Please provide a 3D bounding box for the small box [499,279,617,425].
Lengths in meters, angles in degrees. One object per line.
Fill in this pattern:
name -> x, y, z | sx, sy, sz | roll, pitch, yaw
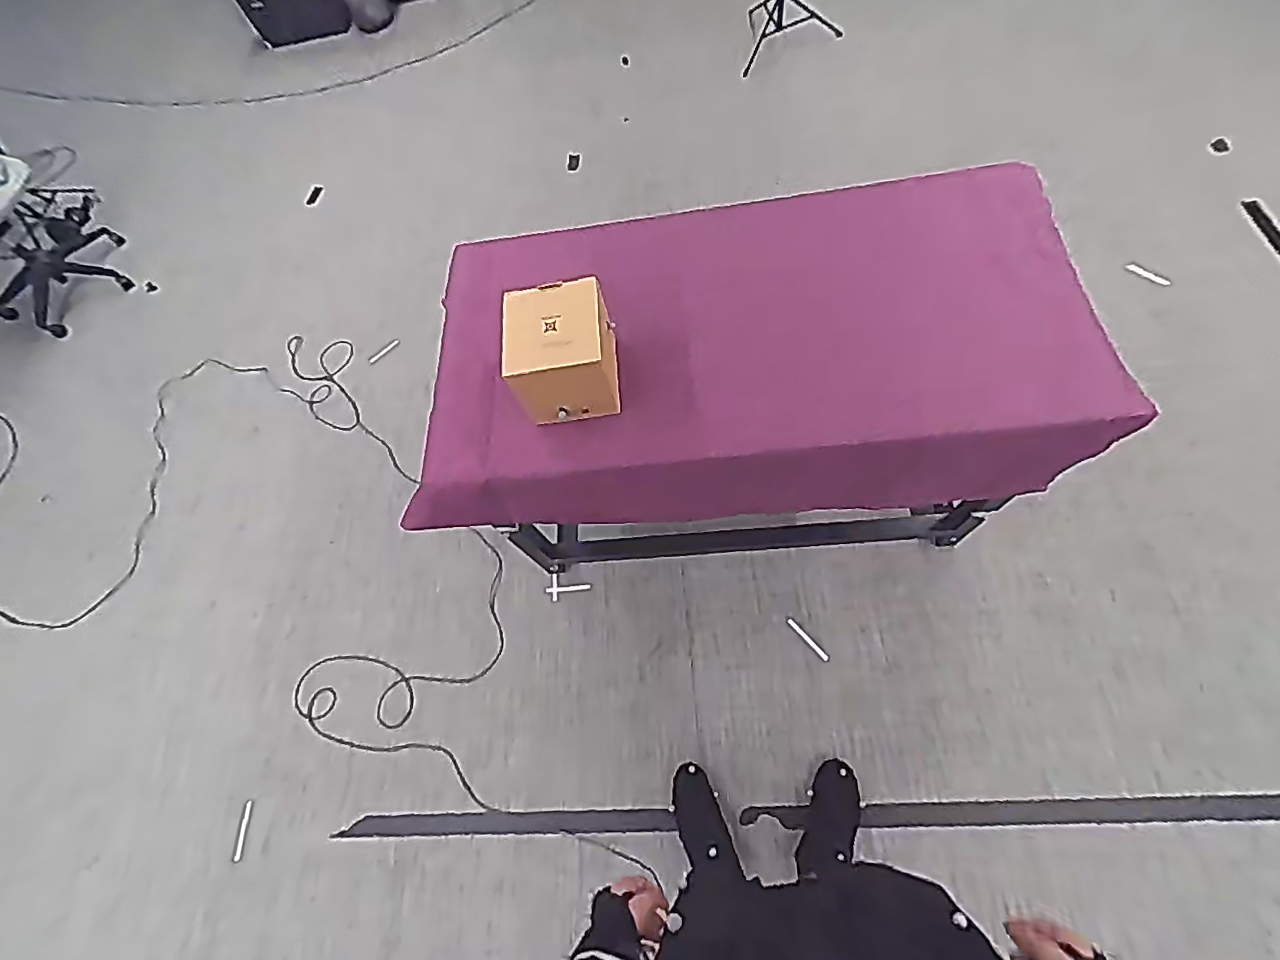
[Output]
small box -> -0.138, -0.221, 0.957 | 0.168, 0.176, 0.179 | -8, 65, 6
